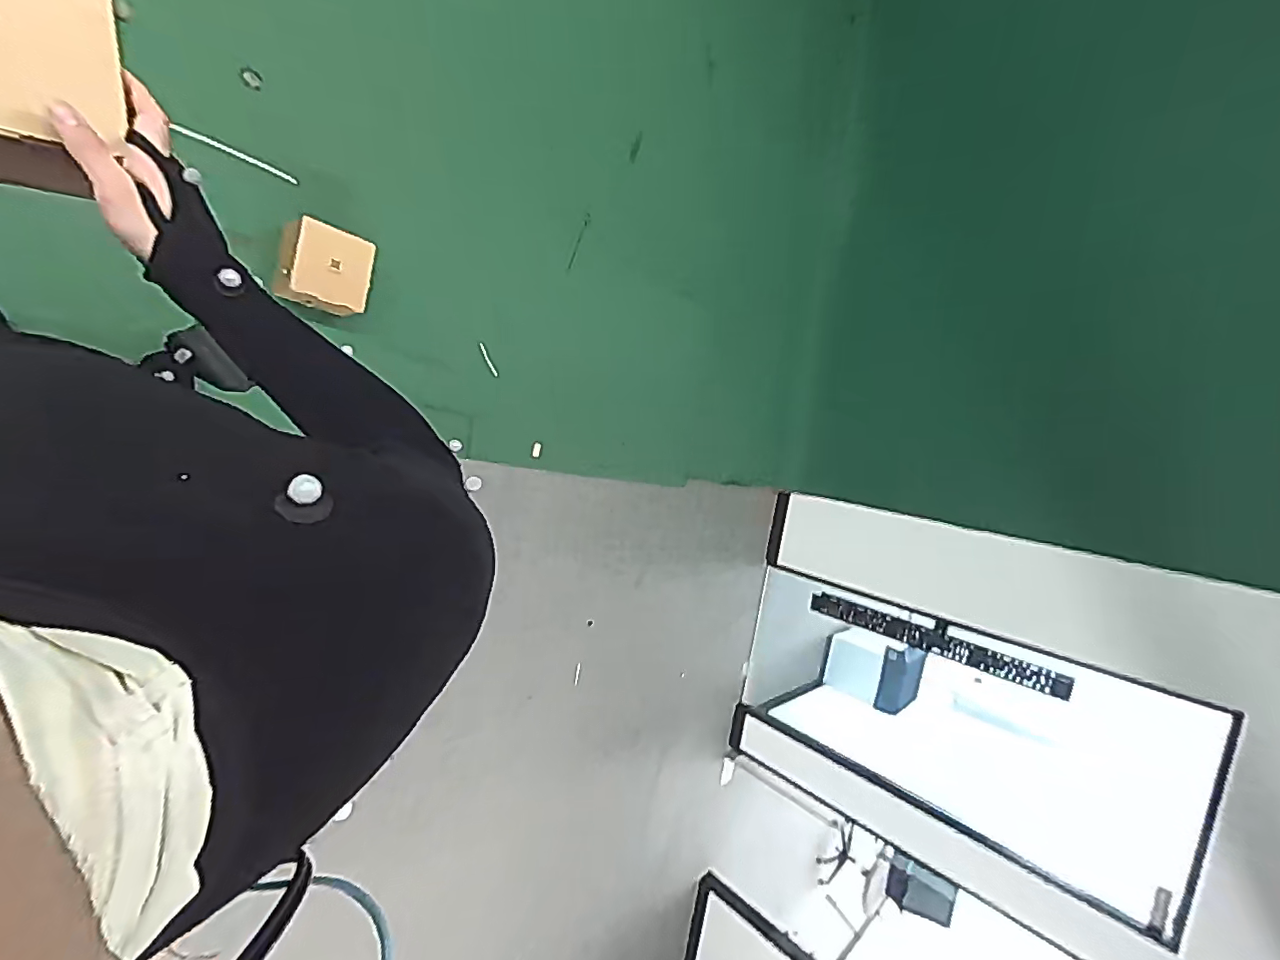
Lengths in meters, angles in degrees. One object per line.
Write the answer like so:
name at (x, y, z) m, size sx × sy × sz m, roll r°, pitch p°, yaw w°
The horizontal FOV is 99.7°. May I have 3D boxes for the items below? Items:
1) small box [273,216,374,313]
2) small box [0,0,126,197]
small box at (-0.798, -0.532, 1.359) m, size 0.168 × 0.176 × 0.179 m, roll 9°, pitch 94°, yaw -48°
small box at (-0.517, -0.338, 0.402) m, size 0.168 × 0.176 × 0.179 m, roll -10°, pitch 106°, yaw -48°
